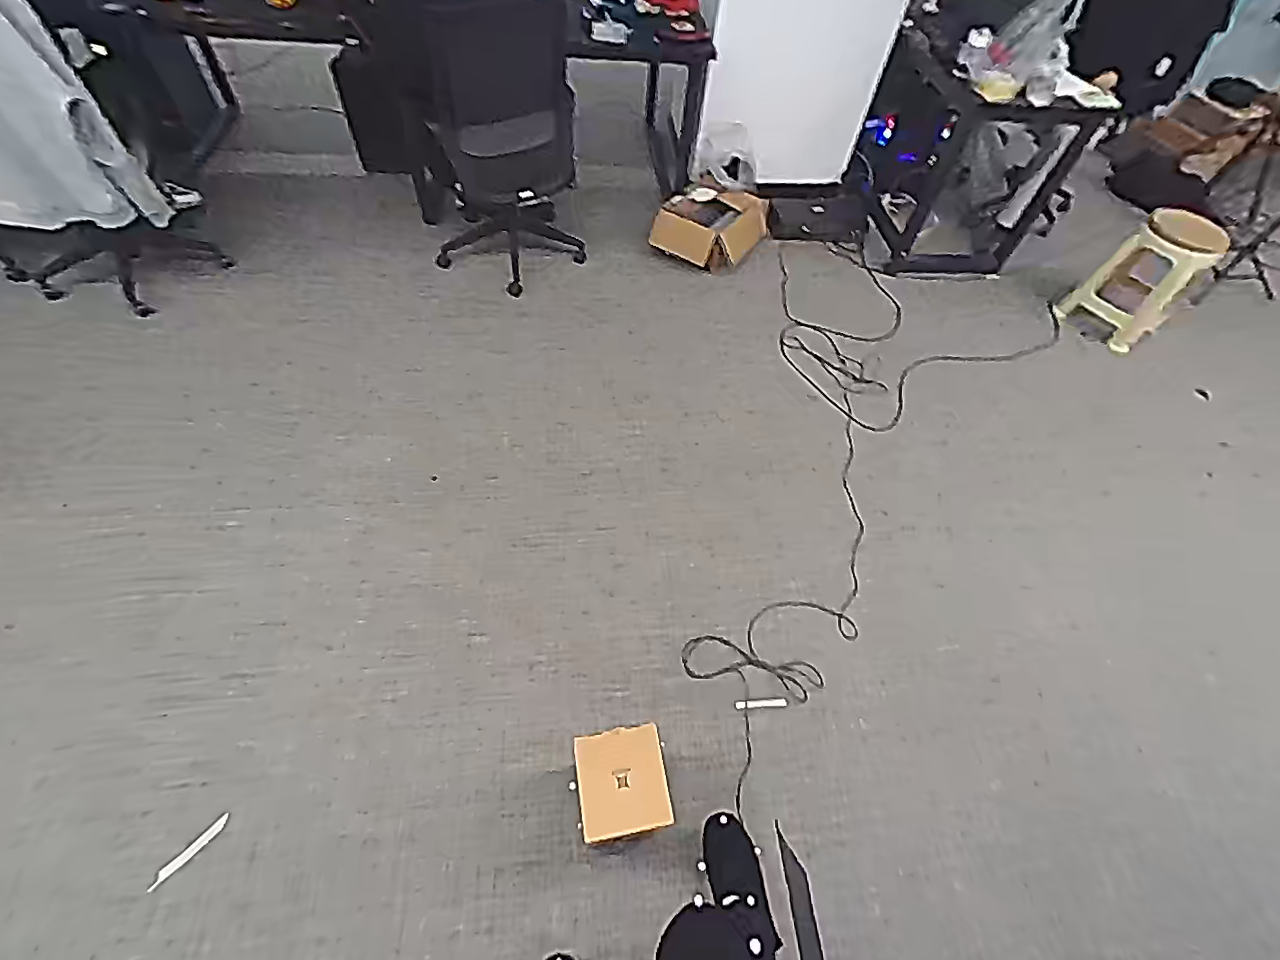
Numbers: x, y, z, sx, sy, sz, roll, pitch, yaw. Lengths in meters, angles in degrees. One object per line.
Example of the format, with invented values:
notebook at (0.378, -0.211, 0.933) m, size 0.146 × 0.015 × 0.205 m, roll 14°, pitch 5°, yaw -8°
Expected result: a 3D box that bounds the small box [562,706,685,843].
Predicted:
small box at (-0.033, 0.568, 1.053) m, size 0.179 × 0.176 × 0.168 m, roll -21°, pitch 39°, yaw 2°
